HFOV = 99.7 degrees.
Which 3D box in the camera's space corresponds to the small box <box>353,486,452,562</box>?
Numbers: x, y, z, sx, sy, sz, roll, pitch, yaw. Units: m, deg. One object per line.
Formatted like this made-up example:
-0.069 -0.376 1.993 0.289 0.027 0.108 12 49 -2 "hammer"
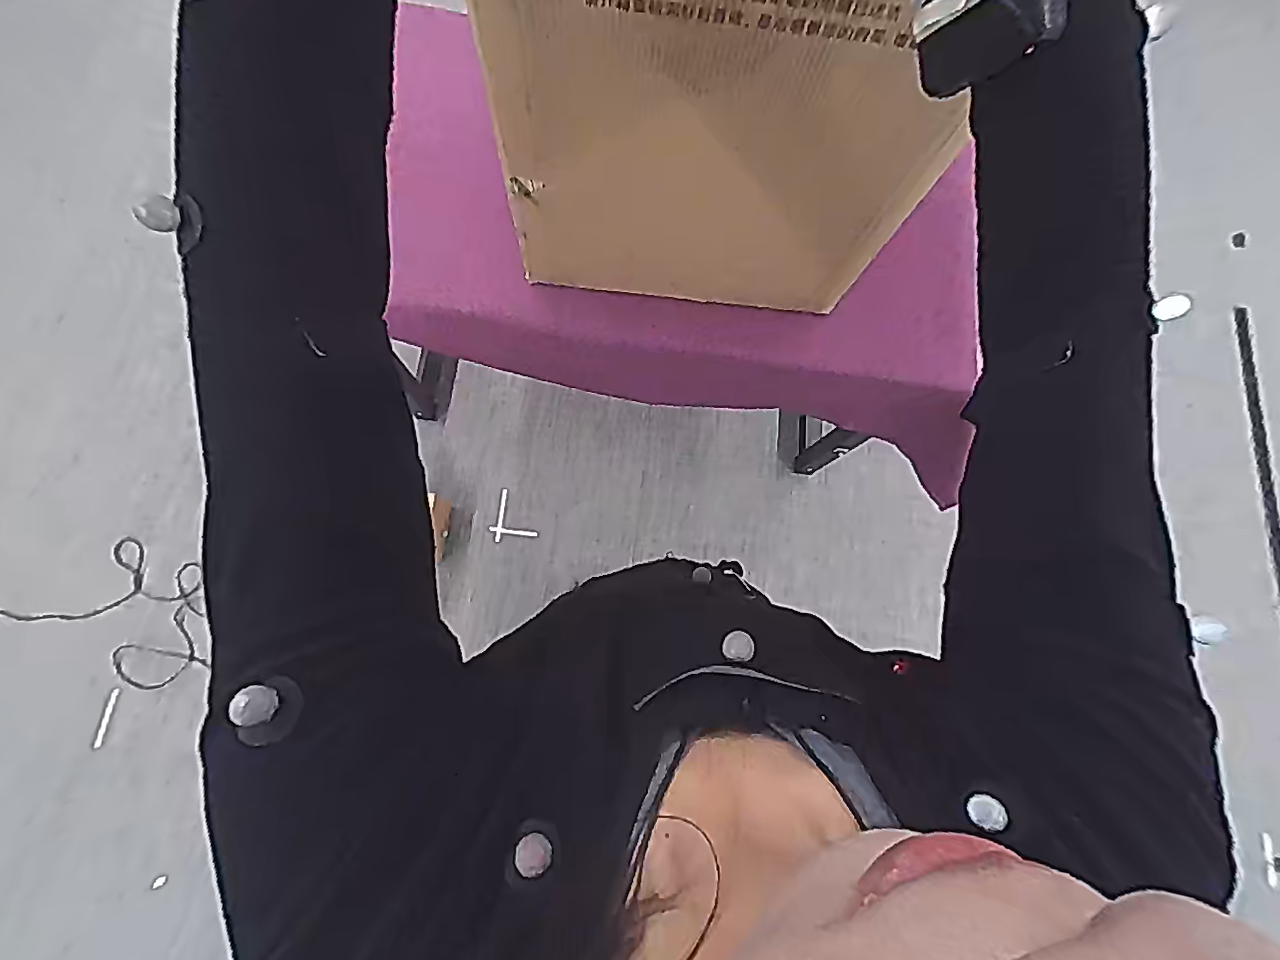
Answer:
-0.617 0.122 1.423 0.179 0.176 0.168 6 77 -4 "small box"
